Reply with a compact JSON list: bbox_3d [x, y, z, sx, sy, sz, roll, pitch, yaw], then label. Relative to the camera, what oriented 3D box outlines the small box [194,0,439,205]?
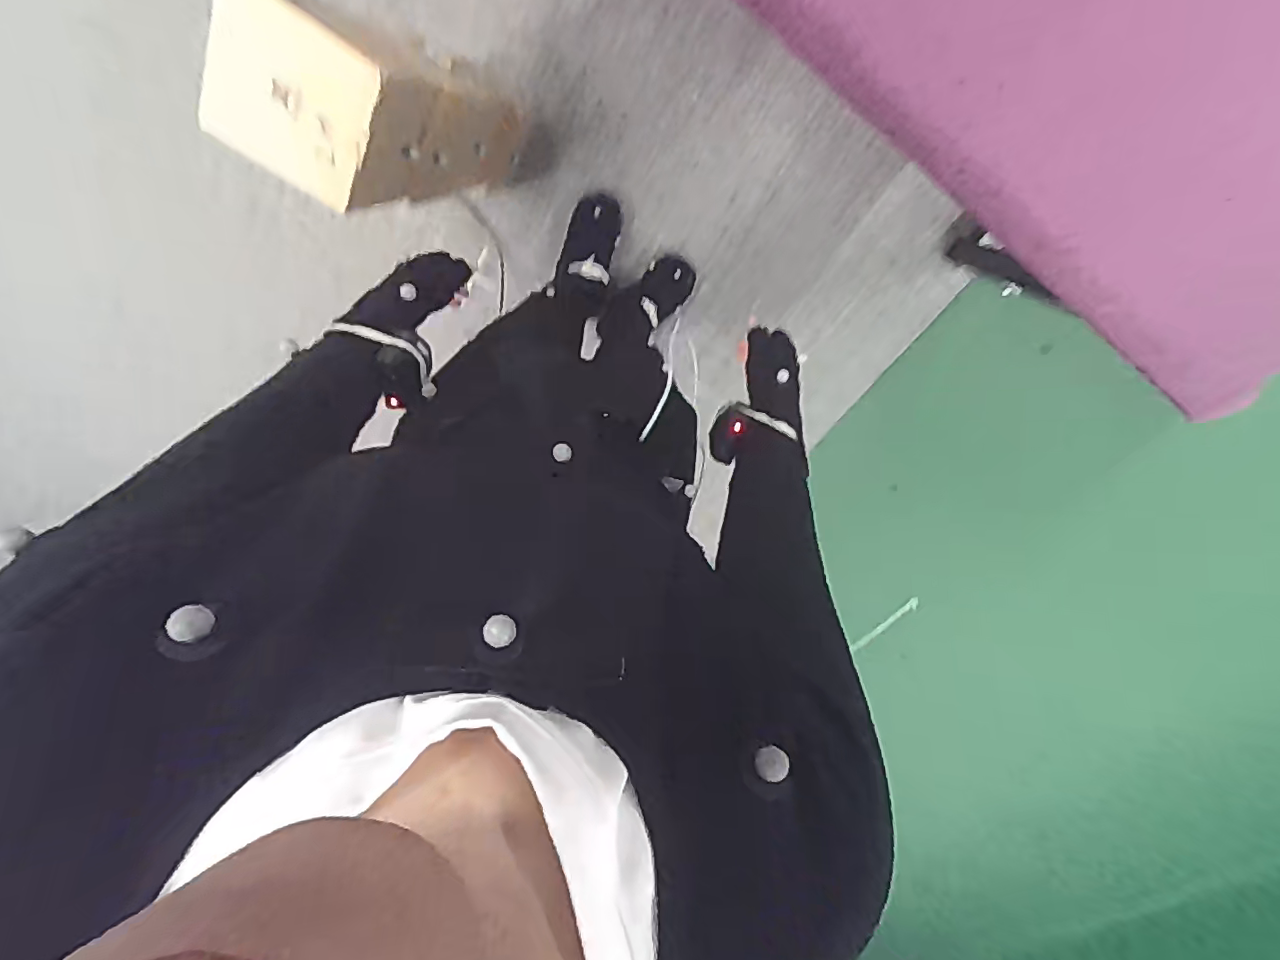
[{"bbox_3d":[-0.381,-0.469,0.658,0.179,0.176,0.168,31,120,-15],"label":"small box"}]

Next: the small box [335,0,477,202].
[{"bbox_3d":[-0.362,-0.550,0.801,0.168,0.176,0.179,31,120,-15],"label":"small box"}]
